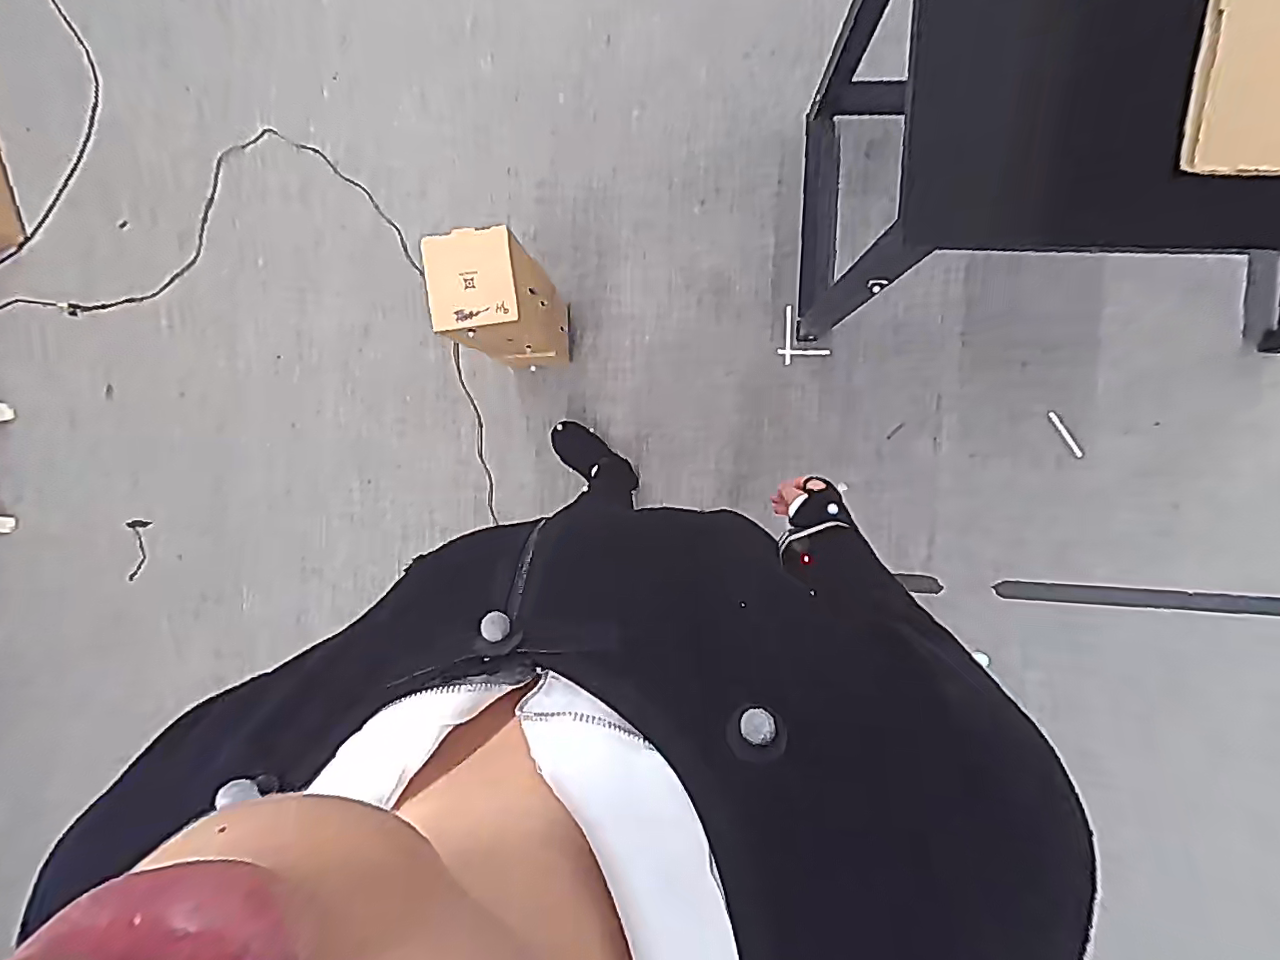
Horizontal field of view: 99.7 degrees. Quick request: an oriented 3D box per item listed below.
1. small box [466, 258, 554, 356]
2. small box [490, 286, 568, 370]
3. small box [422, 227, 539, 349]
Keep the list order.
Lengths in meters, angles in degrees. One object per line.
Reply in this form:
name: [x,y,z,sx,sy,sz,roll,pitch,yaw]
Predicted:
small box: [-0.298,-0.385,1.237,0.168,0.176,0.179,-5,92,4]
small box: [-0.284,-0.388,1.398,0.168,0.176,0.179,-1,94,4]
small box: [-0.308,-0.371,1.073,0.168,0.176,0.179,-7,92,4]
